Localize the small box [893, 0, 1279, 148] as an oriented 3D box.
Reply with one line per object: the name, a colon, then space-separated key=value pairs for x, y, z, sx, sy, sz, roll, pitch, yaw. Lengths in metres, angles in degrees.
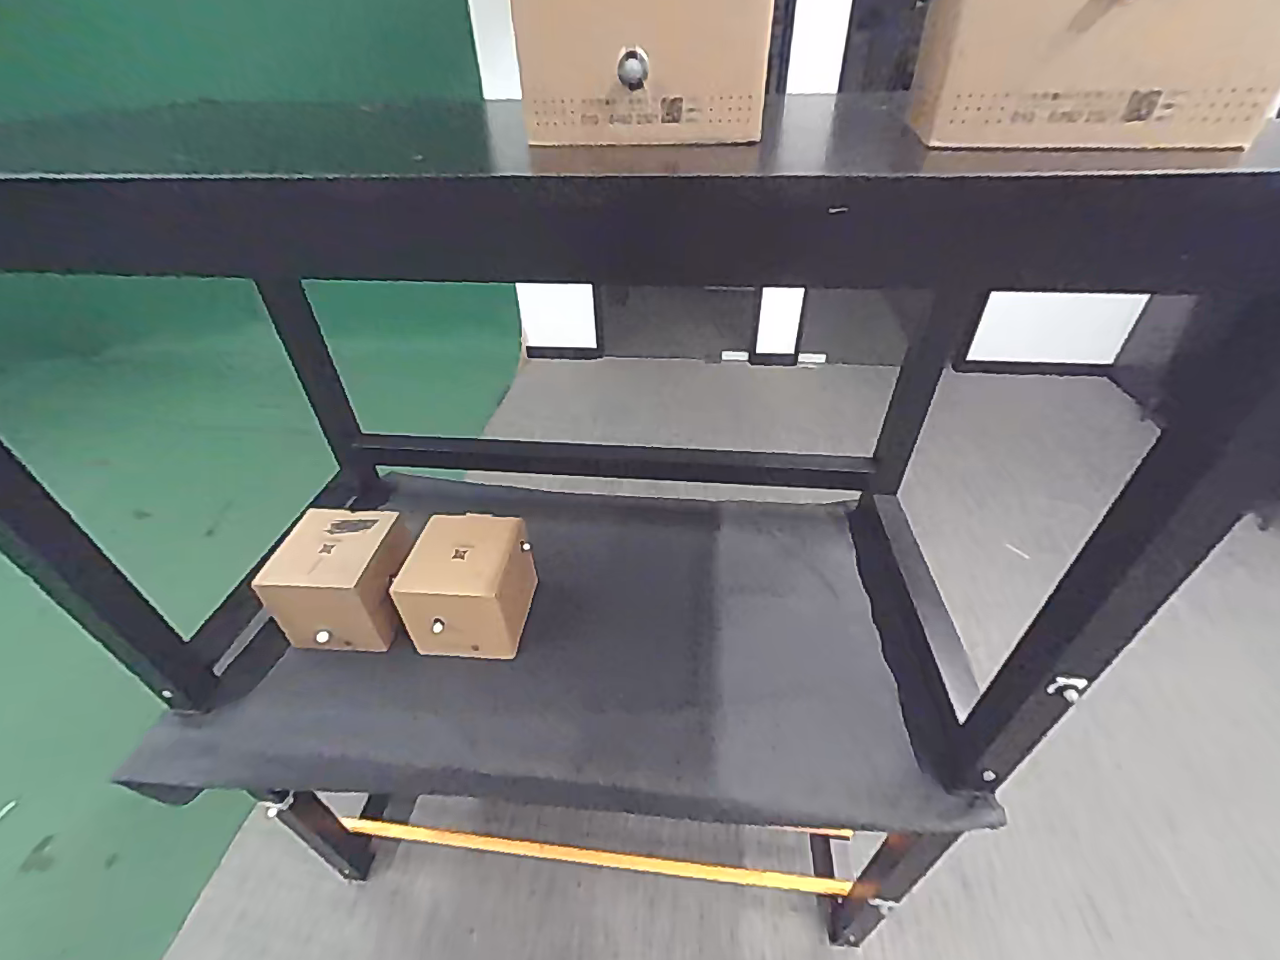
small box: x=0.267 y=-0.311 z=0.333 sx=0.168 sy=0.176 sz=0.179 roll=9 pitch=39 yaw=14

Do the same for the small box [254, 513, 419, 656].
small box: x=-0.504 y=0.178 z=0.933 sx=0.168 sy=0.176 sz=0.179 roll=1 pitch=38 yaw=4
